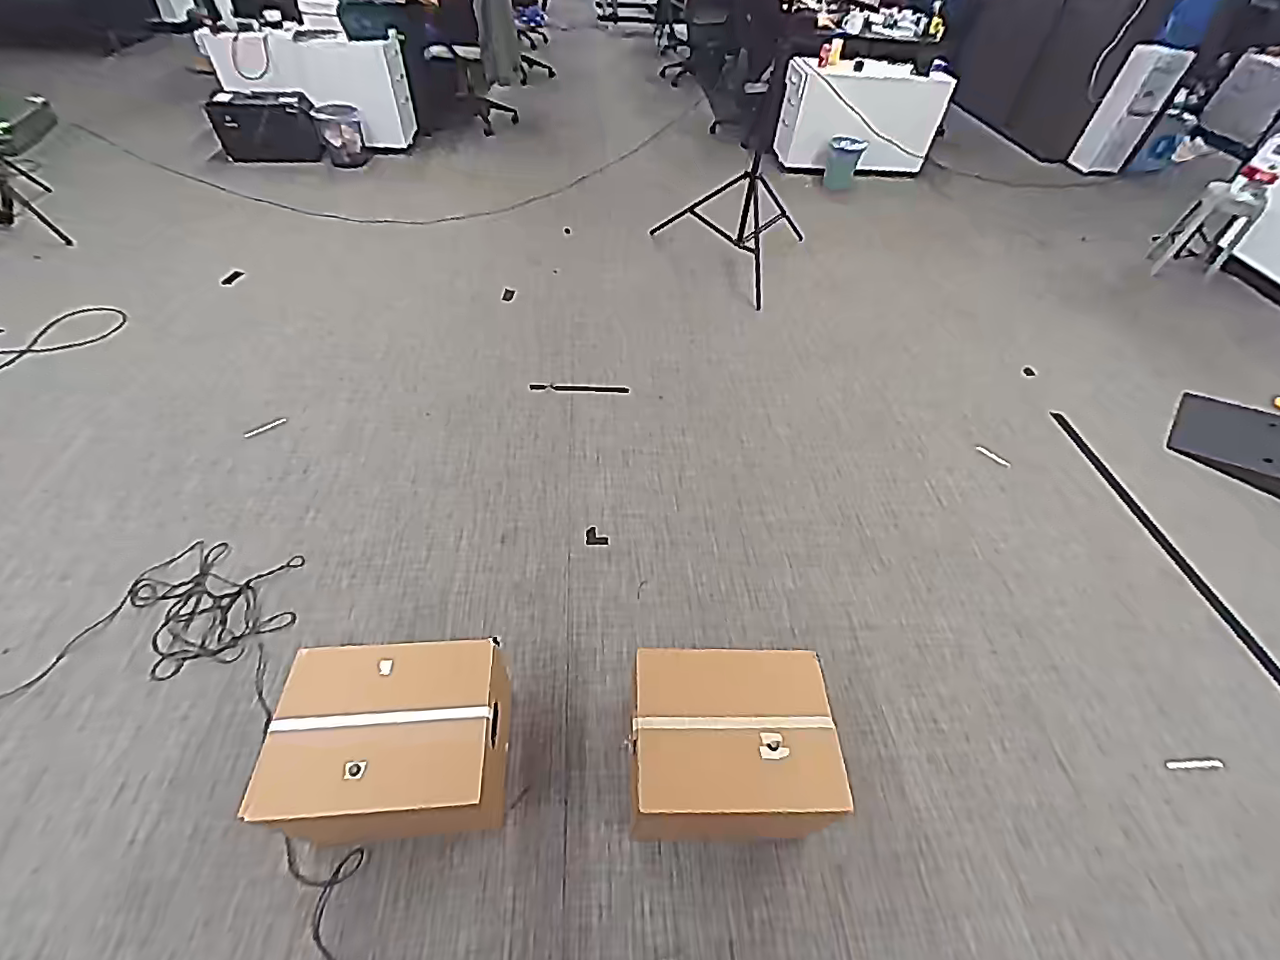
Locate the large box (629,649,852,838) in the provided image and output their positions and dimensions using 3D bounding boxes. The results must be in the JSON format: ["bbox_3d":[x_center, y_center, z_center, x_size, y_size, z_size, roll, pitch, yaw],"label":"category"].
[{"bbox_3d":[0.187,0.591,1.210,0.408,0.320,0.320,2,49,-4],"label":"large box"}]
